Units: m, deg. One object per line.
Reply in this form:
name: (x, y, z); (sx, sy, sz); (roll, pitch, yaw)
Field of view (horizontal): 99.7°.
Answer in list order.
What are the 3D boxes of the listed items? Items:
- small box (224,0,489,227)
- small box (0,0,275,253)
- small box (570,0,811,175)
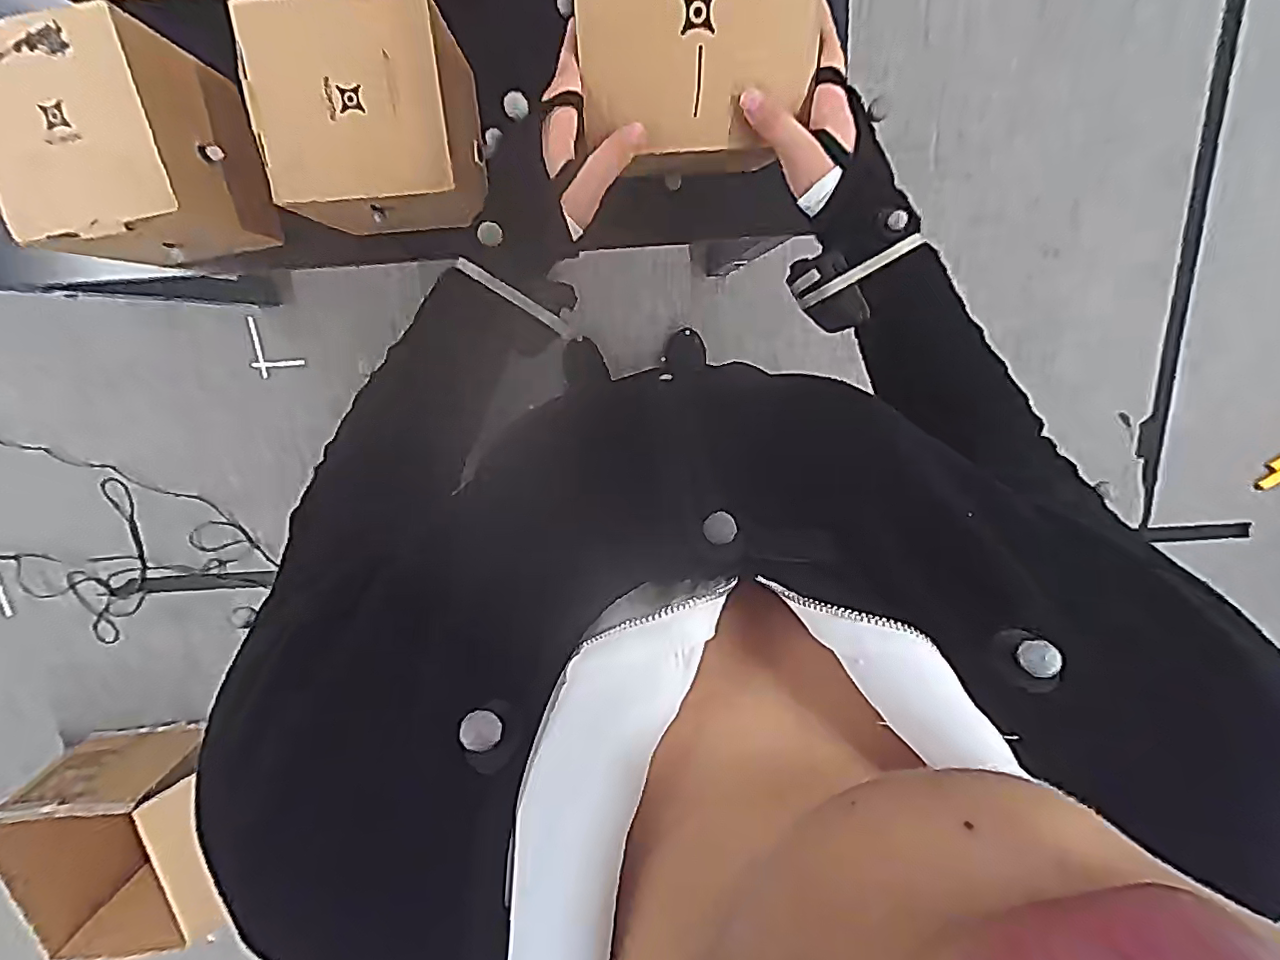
small box: (-0.274, -0.374, 0.568); (0.179, 0.176, 0.168); (-5, 106, -1)
small box: (-0.529, -0.344, 0.565); (0.168, 0.176, 0.179); (-10, 105, 1)
small box: (0.028, -0.355, 0.433); (0.168, 0.176, 0.179); (-3, 115, -2)
